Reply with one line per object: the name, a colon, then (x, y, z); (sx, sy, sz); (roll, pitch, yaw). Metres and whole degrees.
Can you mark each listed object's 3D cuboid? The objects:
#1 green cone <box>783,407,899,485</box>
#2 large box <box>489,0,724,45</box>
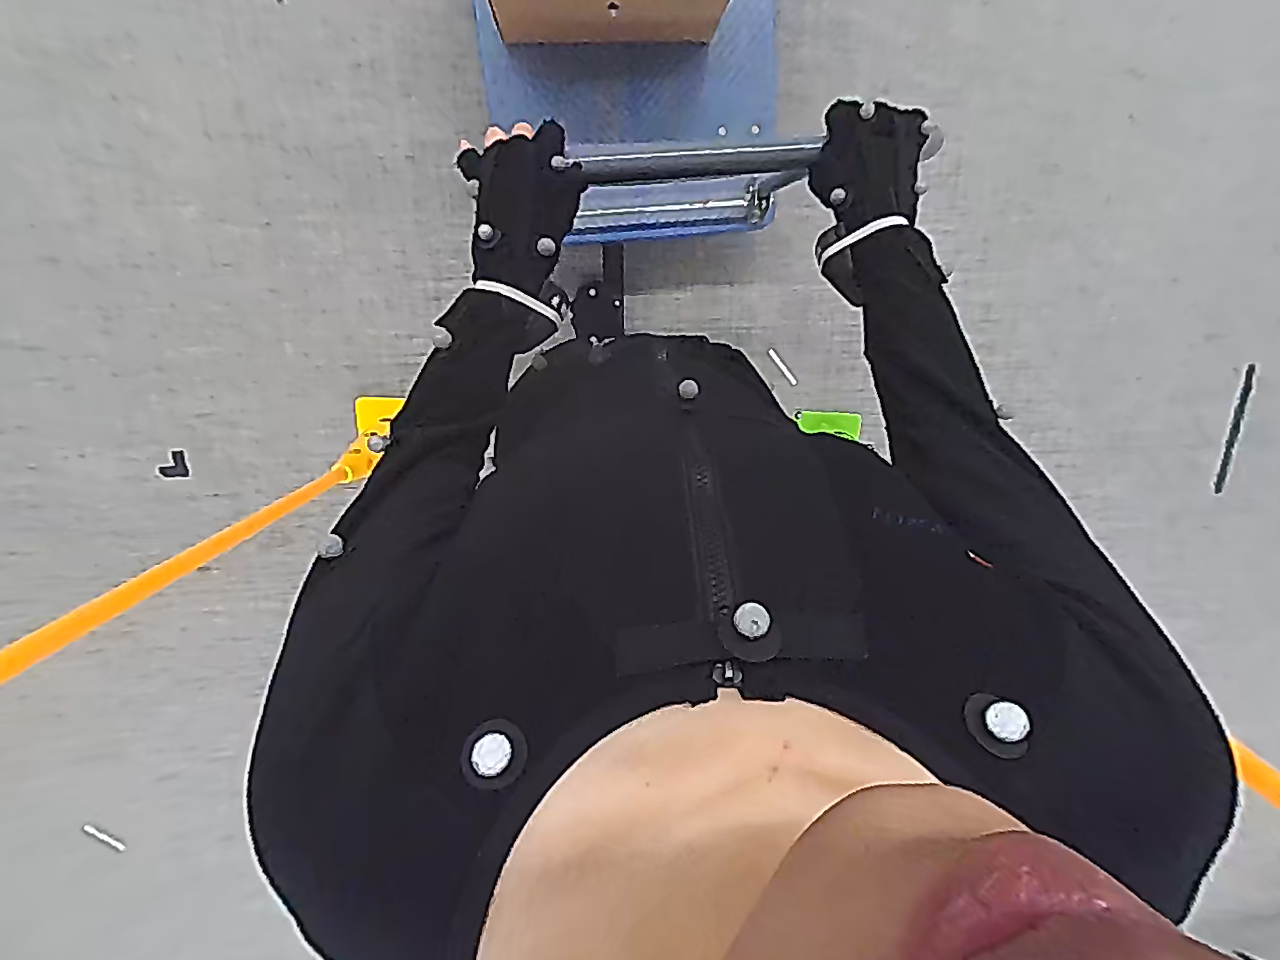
green cone: (0.520, -0.054, 1.344); (0.202, 0.368, 0.200); (1, 107, -7)
large box: (-0.059, -0.950, 0.869); (0.408, 0.320, 0.320); (-4, 108, -3)
